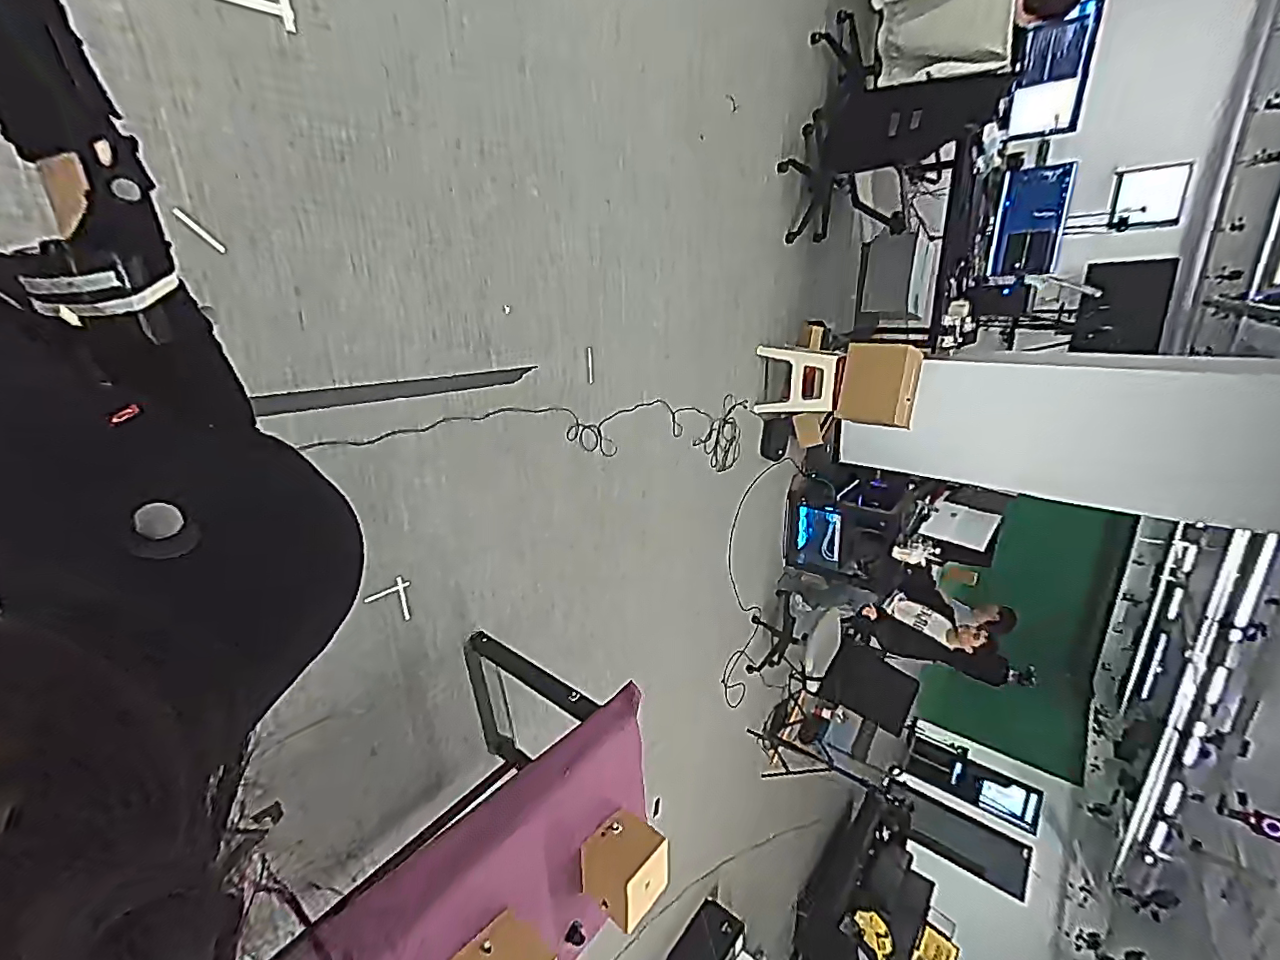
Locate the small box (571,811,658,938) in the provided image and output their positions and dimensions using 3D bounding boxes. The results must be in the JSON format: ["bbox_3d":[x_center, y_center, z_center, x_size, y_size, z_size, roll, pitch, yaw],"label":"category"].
[{"bbox_3d":[-0.070,1.038,1.439,0.168,0.176,0.179,-20,115,-48],"label":"small box"}]

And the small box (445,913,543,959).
[{"bbox_3d":[-0.320,1.090,1.142,0.179,0.176,0.168,-14,112,-48],"label":"small box"}]
